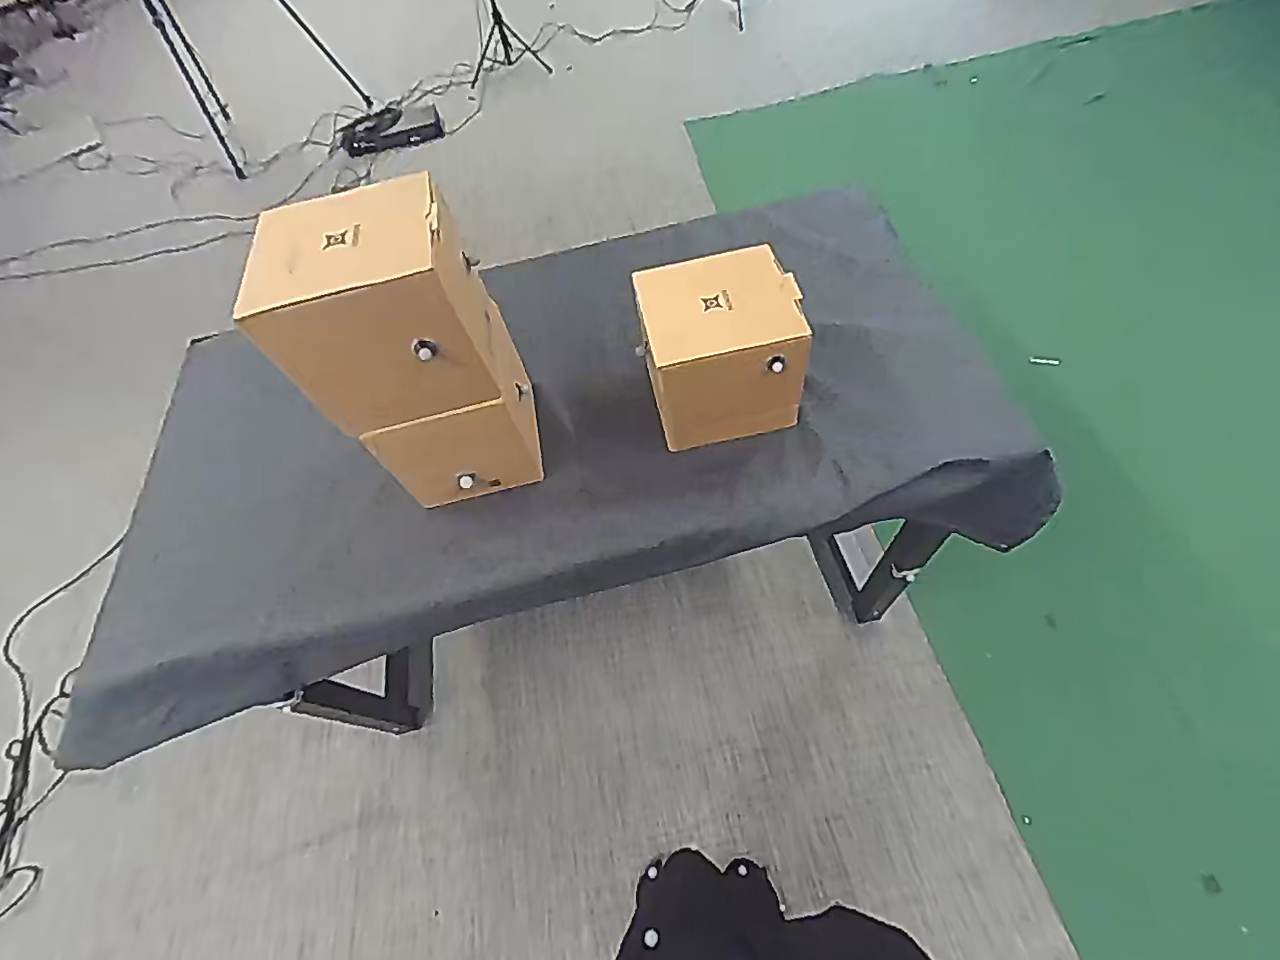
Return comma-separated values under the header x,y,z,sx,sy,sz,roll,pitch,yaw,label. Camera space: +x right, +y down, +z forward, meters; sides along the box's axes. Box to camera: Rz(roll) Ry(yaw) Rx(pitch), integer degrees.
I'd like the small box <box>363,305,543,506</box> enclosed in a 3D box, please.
x,y,z,sx,sy,sz,roll,pitch,yaw,label
-0.233,-0.091,0.706,0.168,0.176,0.179,-14,58,0,small box

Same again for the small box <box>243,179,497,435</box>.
x,y,z,sx,sy,sz,roll,pitch,yaw,label
-0.259,-0.173,0.567,0.179,0.176,0.168,-15,57,0,small box

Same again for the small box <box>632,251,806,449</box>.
x,y,z,sx,sy,sz,roll,pitch,yaw,label
0.097,-0.160,0.702,0.179,0.176,0.168,-12,57,0,small box
